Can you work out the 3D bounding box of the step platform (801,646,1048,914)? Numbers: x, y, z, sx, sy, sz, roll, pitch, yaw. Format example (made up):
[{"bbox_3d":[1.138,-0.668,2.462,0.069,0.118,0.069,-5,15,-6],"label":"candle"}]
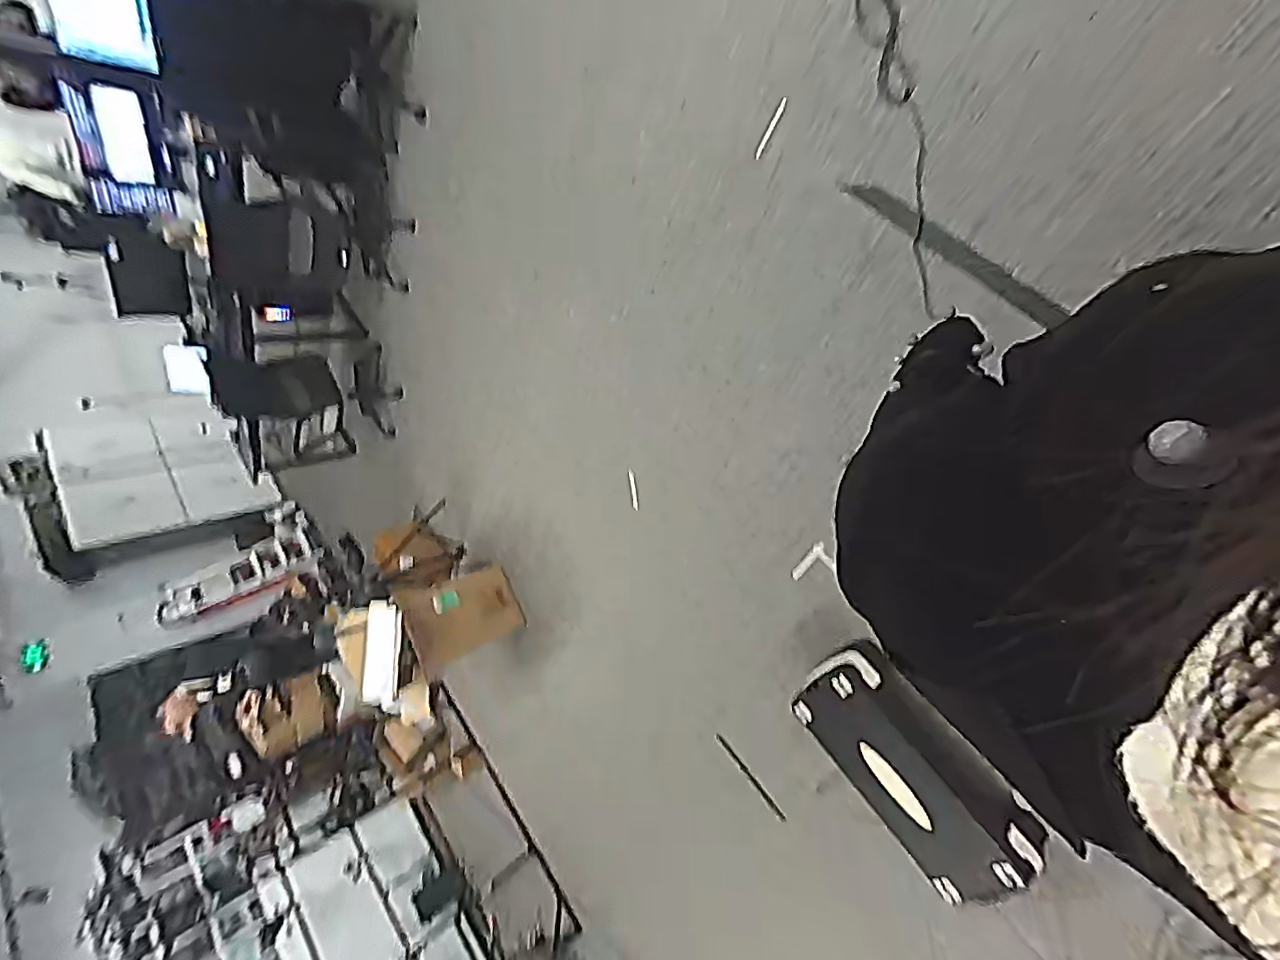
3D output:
[{"bbox_3d":[0.785,0.843,1.549,0.684,0.204,0.286,53,134,17],"label":"step platform"}]
